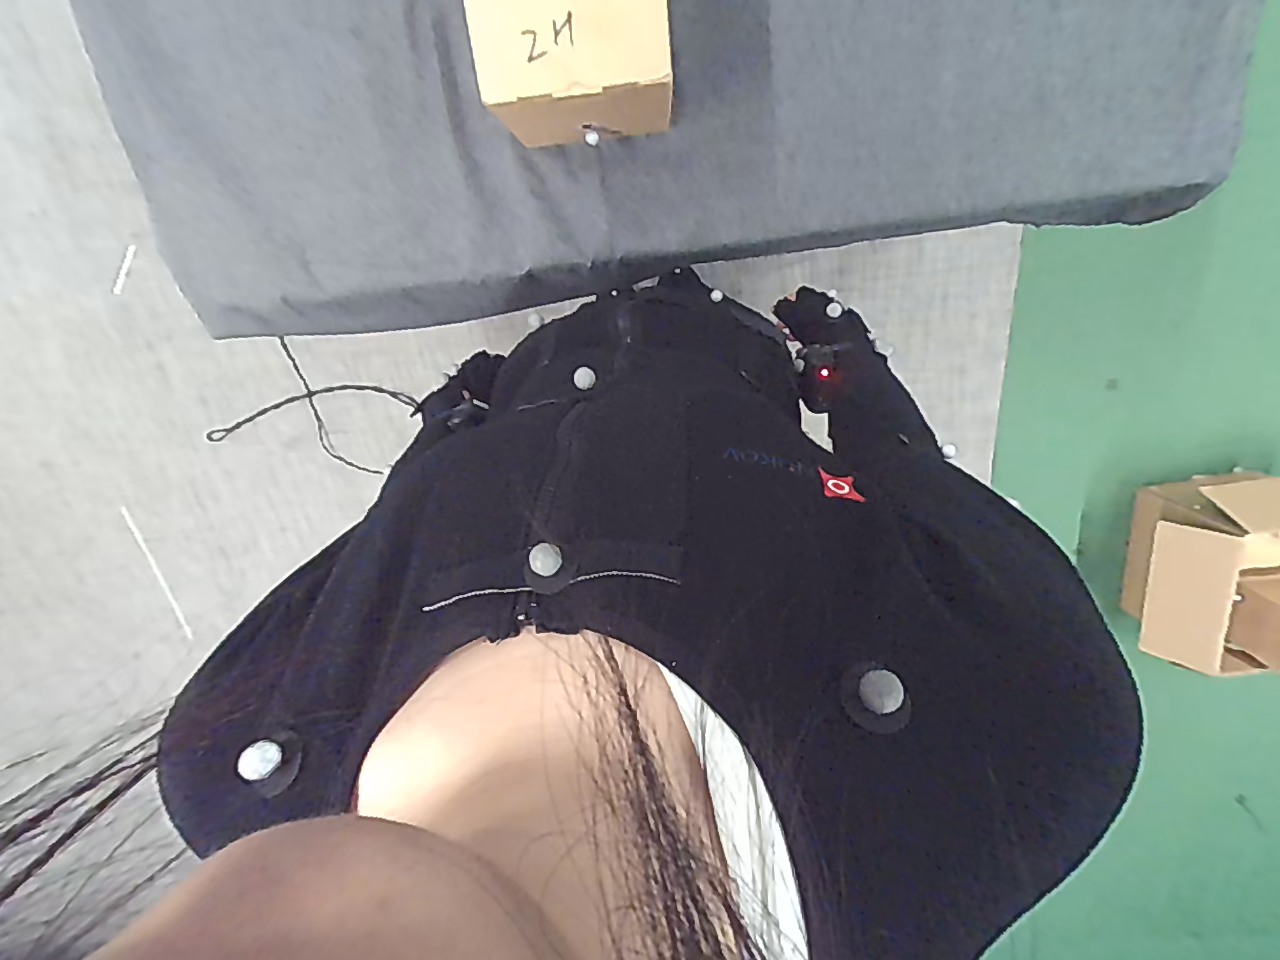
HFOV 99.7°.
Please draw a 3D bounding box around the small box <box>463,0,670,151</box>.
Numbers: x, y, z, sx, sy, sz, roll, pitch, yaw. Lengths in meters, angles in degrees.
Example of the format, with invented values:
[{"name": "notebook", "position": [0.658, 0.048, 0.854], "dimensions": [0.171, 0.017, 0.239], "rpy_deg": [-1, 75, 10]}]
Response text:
[{"name": "small box", "position": [-0.063, -0.433, 0.506], "dimensions": [0.168, 0.176, 0.179], "rpy_deg": [-5, 111, 4]}]
